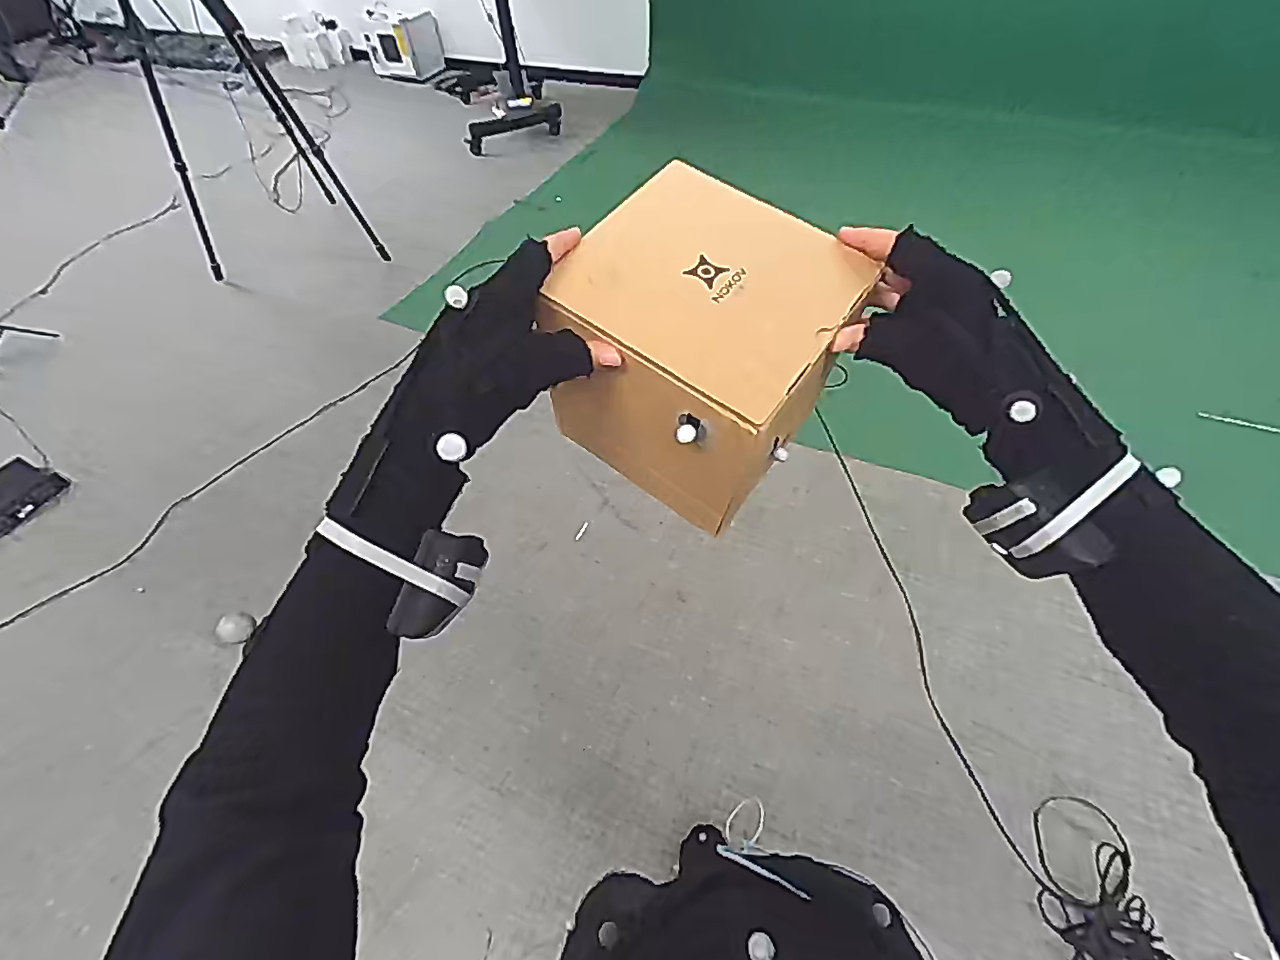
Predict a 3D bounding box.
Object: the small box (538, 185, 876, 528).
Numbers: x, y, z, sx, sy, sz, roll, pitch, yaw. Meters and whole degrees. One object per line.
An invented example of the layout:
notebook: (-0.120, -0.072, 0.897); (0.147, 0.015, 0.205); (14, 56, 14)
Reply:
small box: (0.044, -0.088, 0.434); (0.179, 0.176, 0.168); (35, 67, 14)
